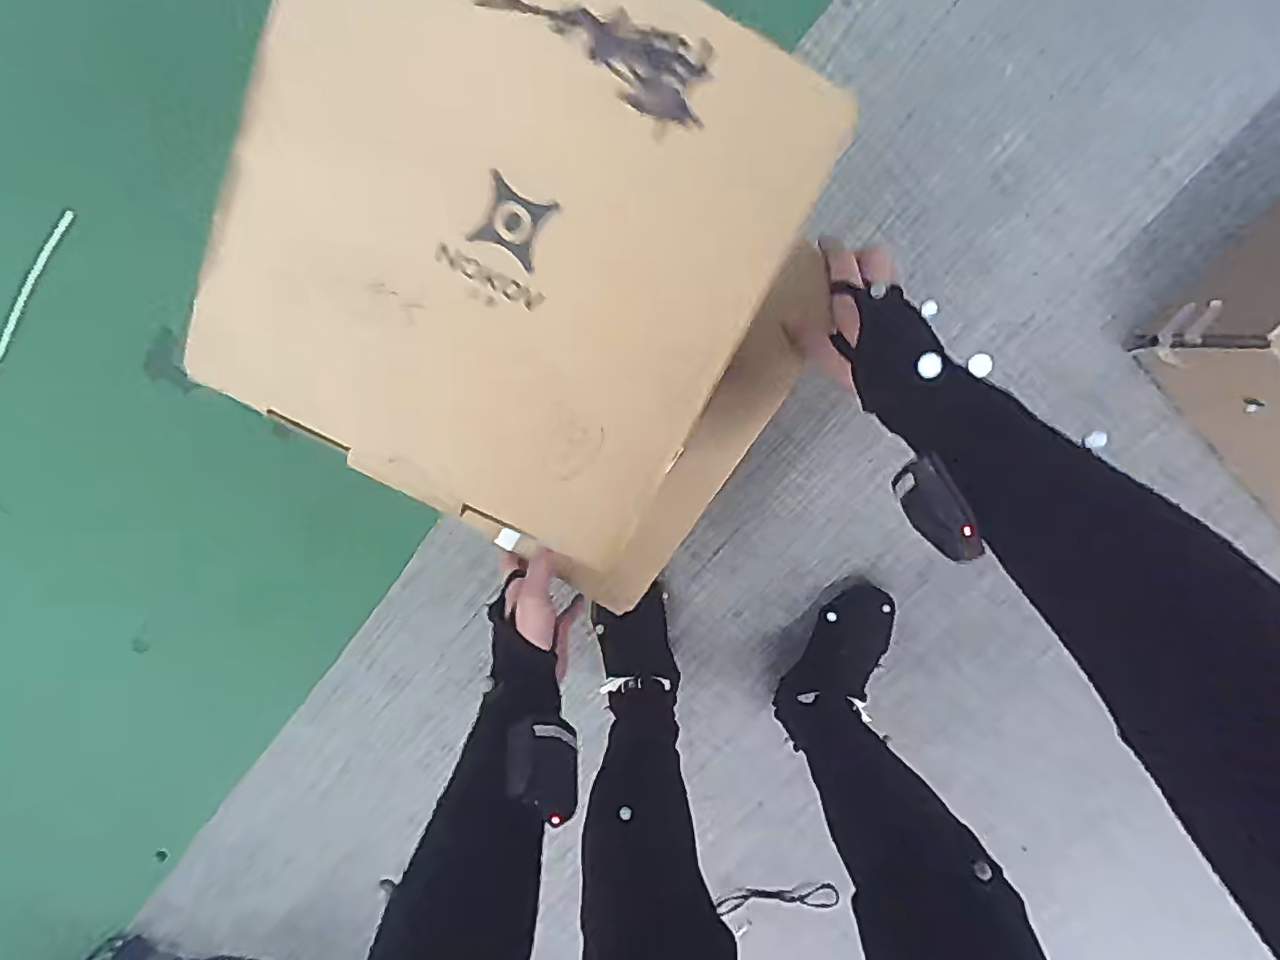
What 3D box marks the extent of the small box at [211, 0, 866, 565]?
[{"bbox_3d":[-0.038,-0.098,0.254,0.168,0.176,0.179,28,104,-8],"label":"small box"}]
